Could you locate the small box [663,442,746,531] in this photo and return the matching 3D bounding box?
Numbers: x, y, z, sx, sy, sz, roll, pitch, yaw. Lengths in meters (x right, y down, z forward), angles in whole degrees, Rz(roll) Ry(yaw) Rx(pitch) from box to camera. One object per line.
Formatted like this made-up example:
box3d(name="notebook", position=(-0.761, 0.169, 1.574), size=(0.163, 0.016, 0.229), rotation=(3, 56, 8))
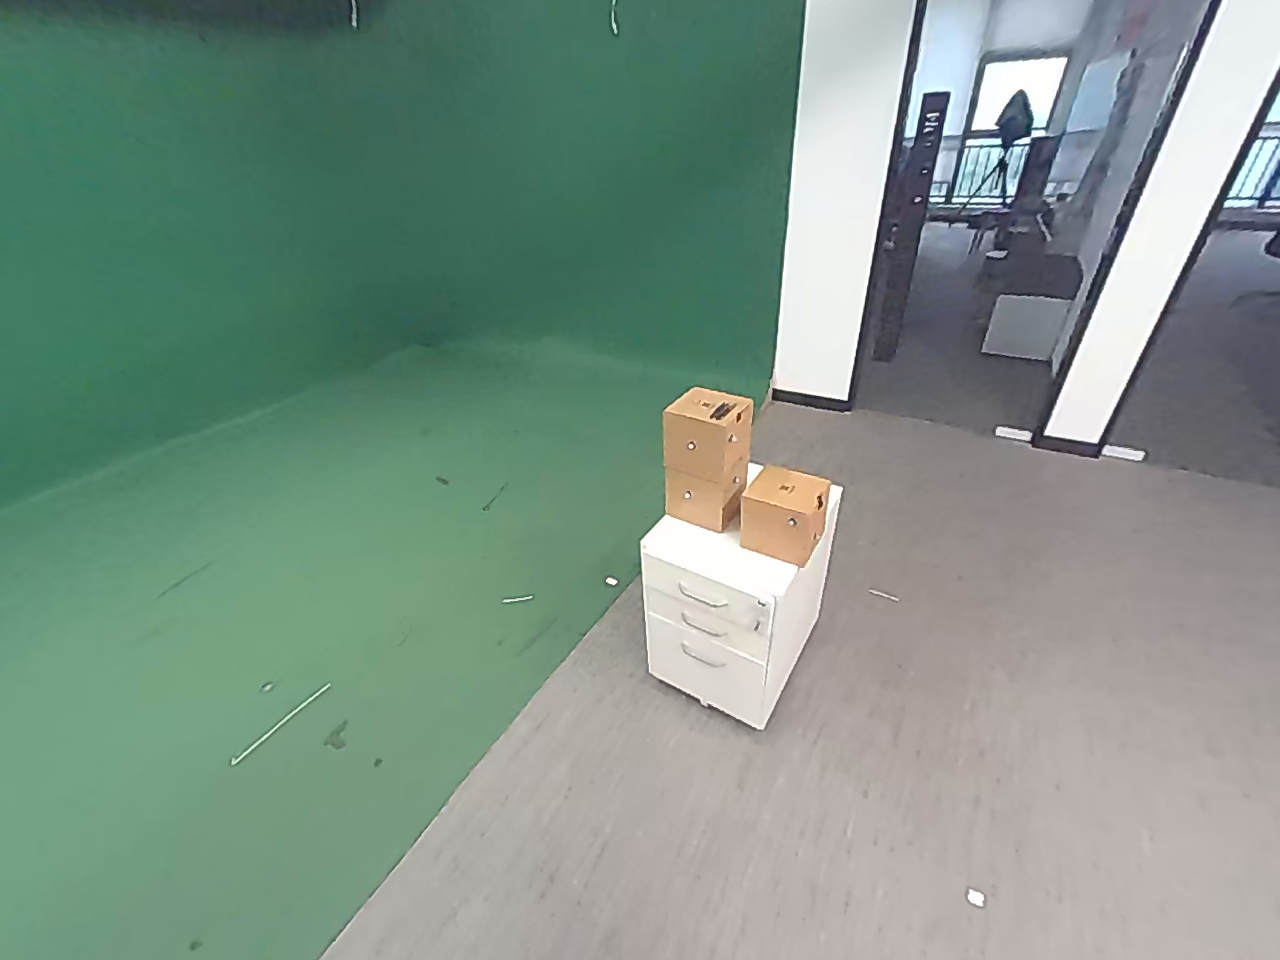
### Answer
box3d(name="small box", position=(0.179, 0.018, 1.502), size=(0.179, 0.176, 0.168), rotation=(17, 39, 27))
